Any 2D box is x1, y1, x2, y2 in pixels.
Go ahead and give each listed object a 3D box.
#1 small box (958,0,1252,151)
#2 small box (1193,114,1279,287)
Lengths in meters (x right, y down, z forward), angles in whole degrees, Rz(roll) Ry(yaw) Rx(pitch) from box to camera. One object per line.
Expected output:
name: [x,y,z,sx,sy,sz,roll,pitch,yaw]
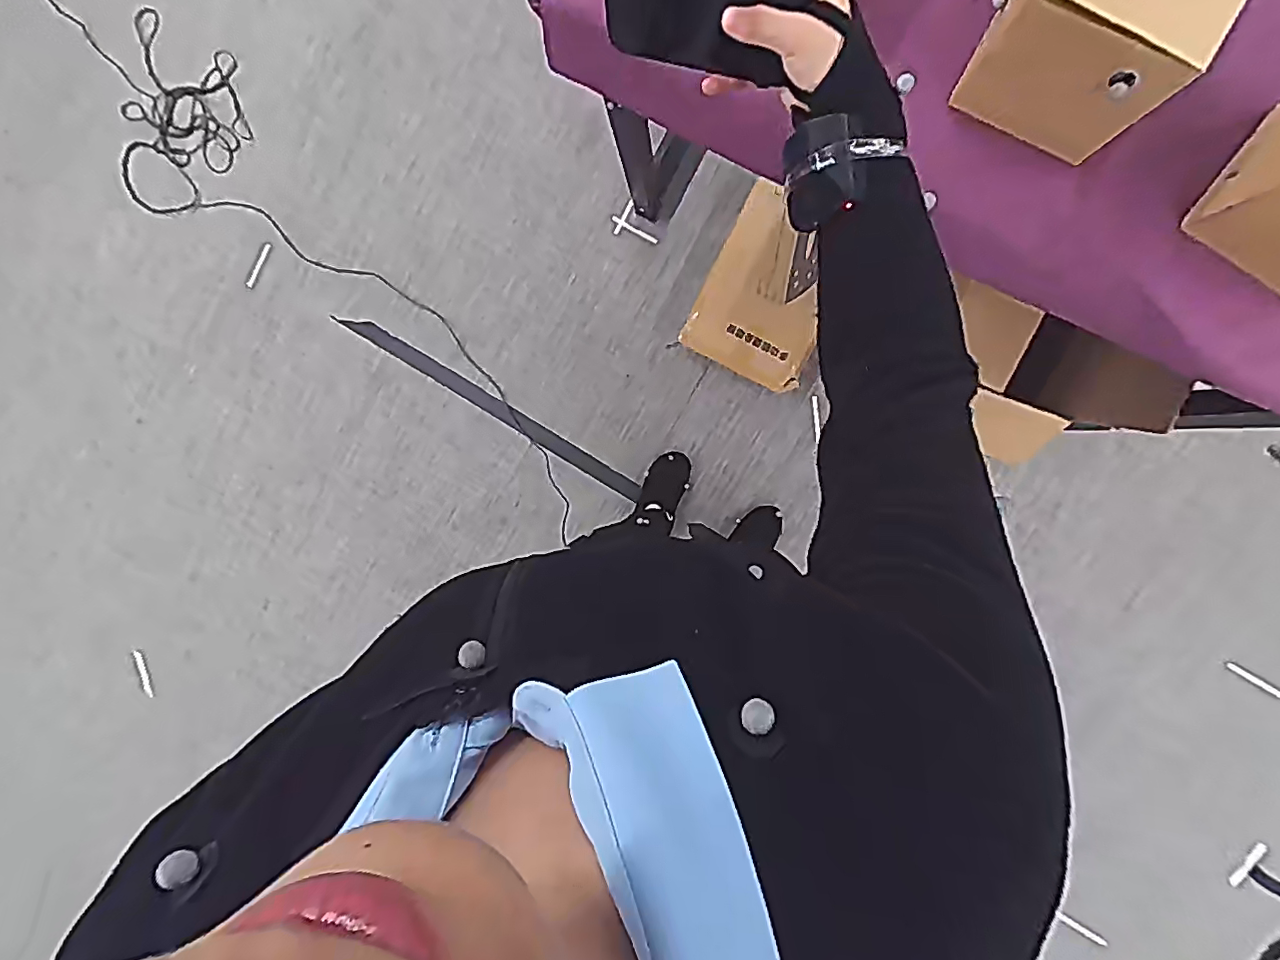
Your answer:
small box: [0.488,-0.488,0.567,0.179,0.176,0.168,28,95,3]
small box: [0.756,-0.317,0.555,0.179,0.176,0.168,35,97,2]
